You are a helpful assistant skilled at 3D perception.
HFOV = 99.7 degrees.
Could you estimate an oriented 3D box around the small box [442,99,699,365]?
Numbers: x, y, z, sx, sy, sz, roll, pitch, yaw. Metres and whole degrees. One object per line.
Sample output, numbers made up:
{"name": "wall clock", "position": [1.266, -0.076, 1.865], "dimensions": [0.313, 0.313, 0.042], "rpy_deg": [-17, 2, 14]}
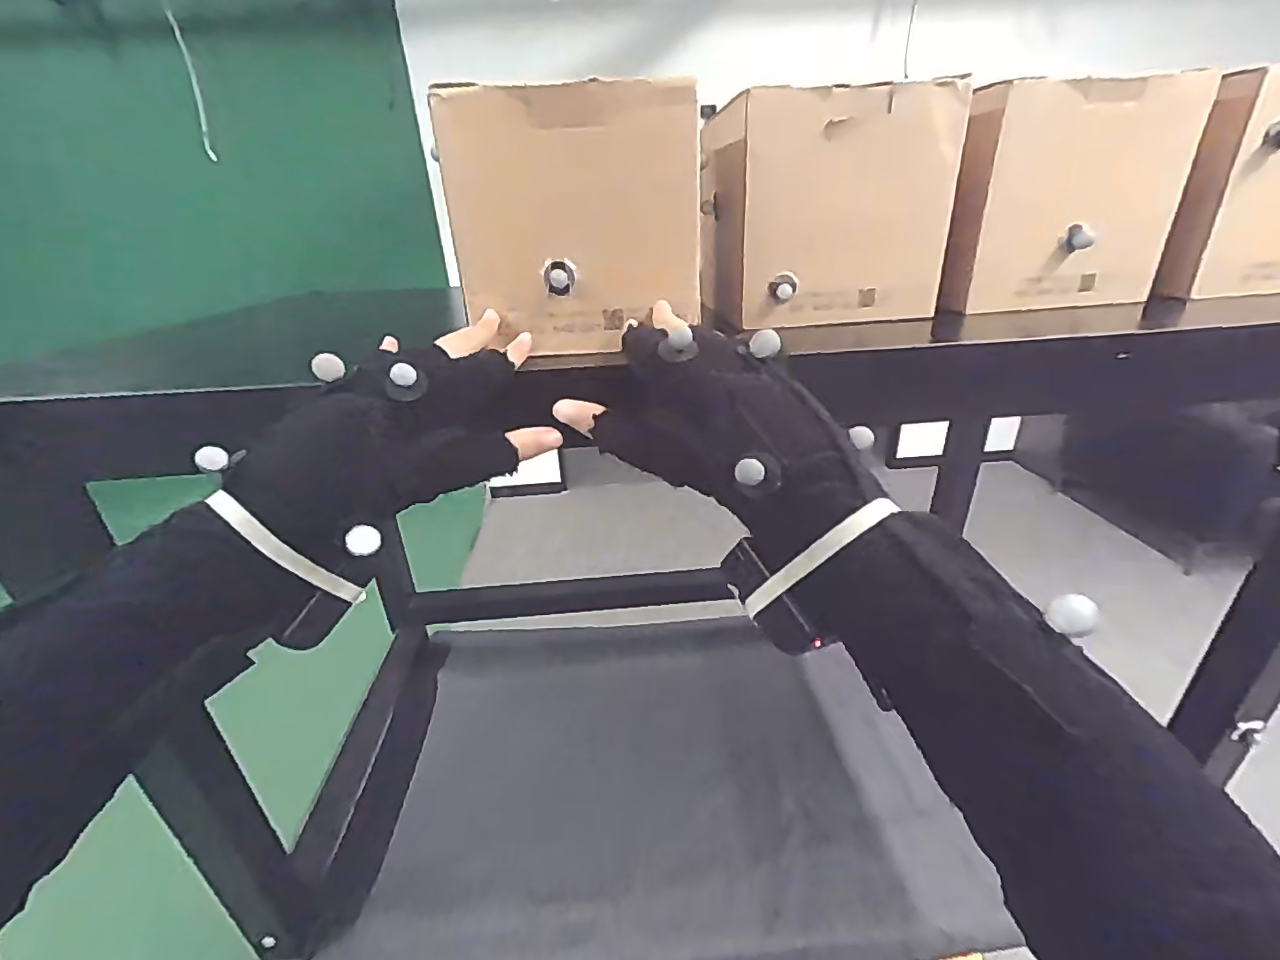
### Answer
{"name": "small box", "position": [-0.045, -0.197, 0.448], "dimensions": [0.168, 0.176, 0.179], "rpy_deg": [-3, 25, -1]}
